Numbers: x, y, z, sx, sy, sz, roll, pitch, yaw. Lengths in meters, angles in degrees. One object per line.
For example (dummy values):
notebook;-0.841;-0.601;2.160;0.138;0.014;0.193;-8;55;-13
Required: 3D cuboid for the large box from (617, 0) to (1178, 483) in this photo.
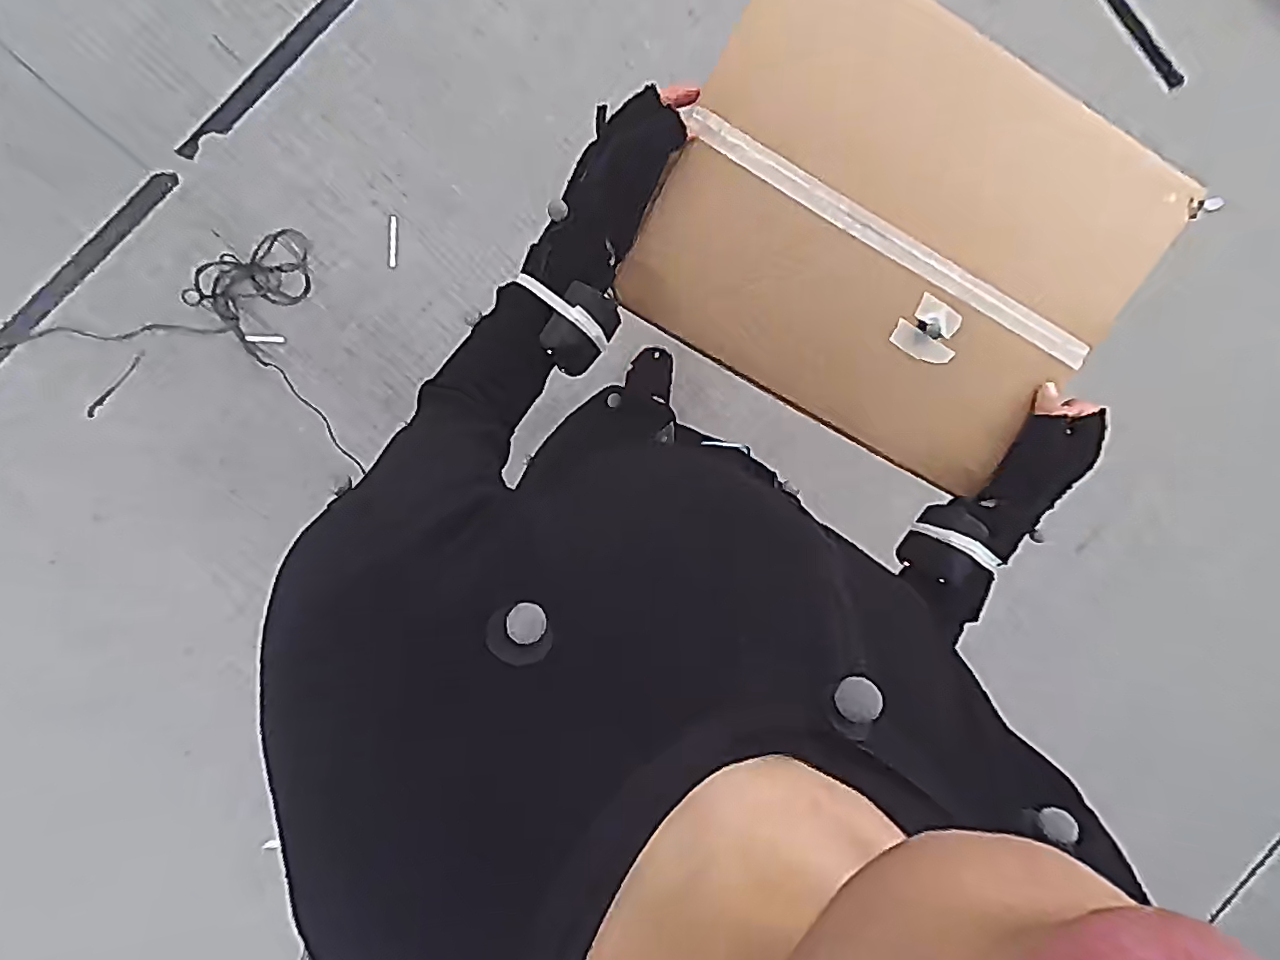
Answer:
large box;0.220;-0.253;0.621;0.408;0.320;0.320;28;105;-7
